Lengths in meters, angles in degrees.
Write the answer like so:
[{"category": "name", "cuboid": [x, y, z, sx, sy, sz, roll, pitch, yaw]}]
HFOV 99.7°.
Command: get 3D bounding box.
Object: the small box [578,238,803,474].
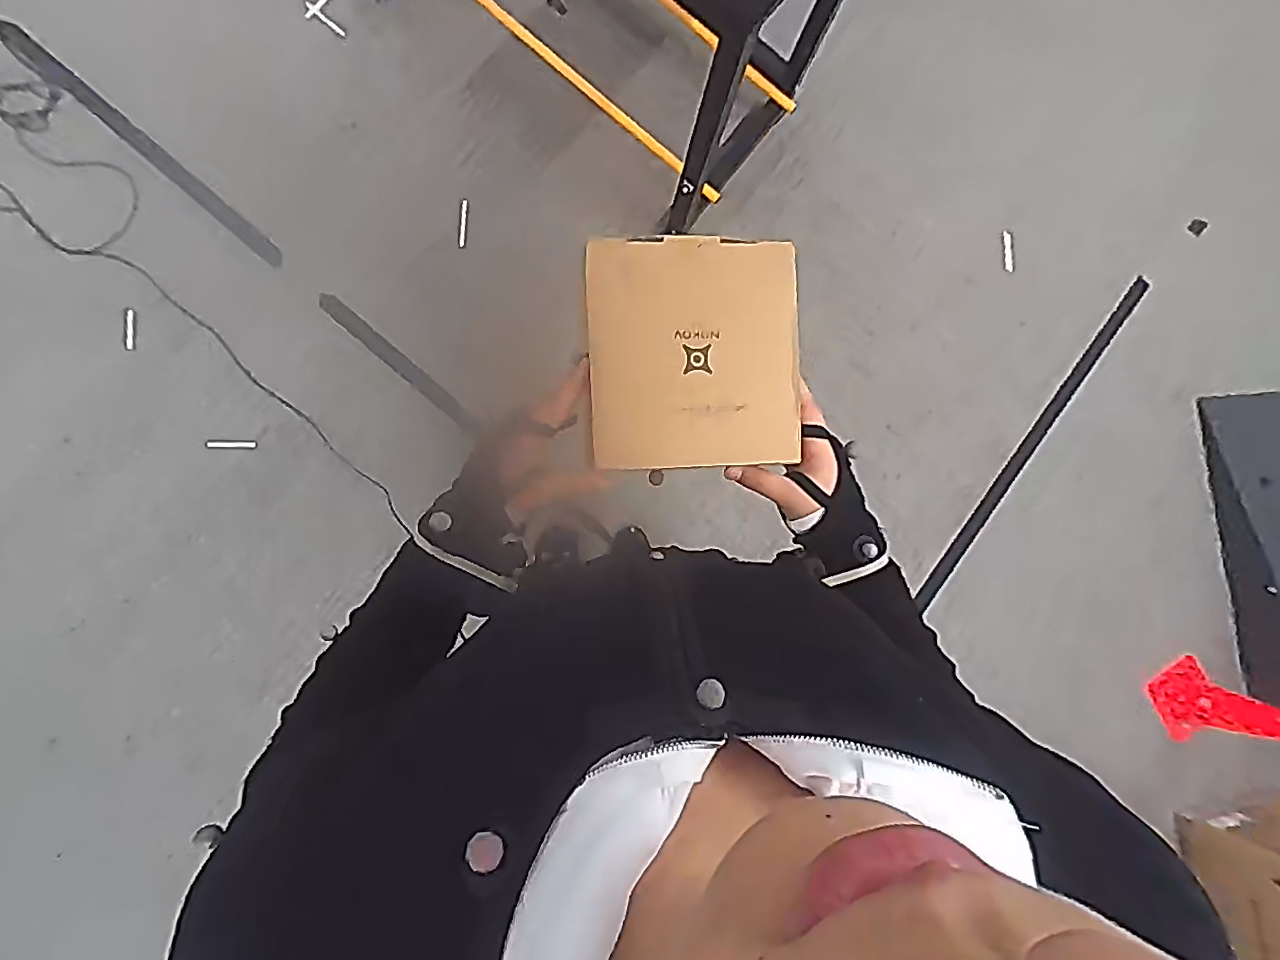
[{"category": "small box", "cuboid": [0.032, -0.096, 0.489, 0.168, 0.176, 0.179, -3, 92, -8]}]
